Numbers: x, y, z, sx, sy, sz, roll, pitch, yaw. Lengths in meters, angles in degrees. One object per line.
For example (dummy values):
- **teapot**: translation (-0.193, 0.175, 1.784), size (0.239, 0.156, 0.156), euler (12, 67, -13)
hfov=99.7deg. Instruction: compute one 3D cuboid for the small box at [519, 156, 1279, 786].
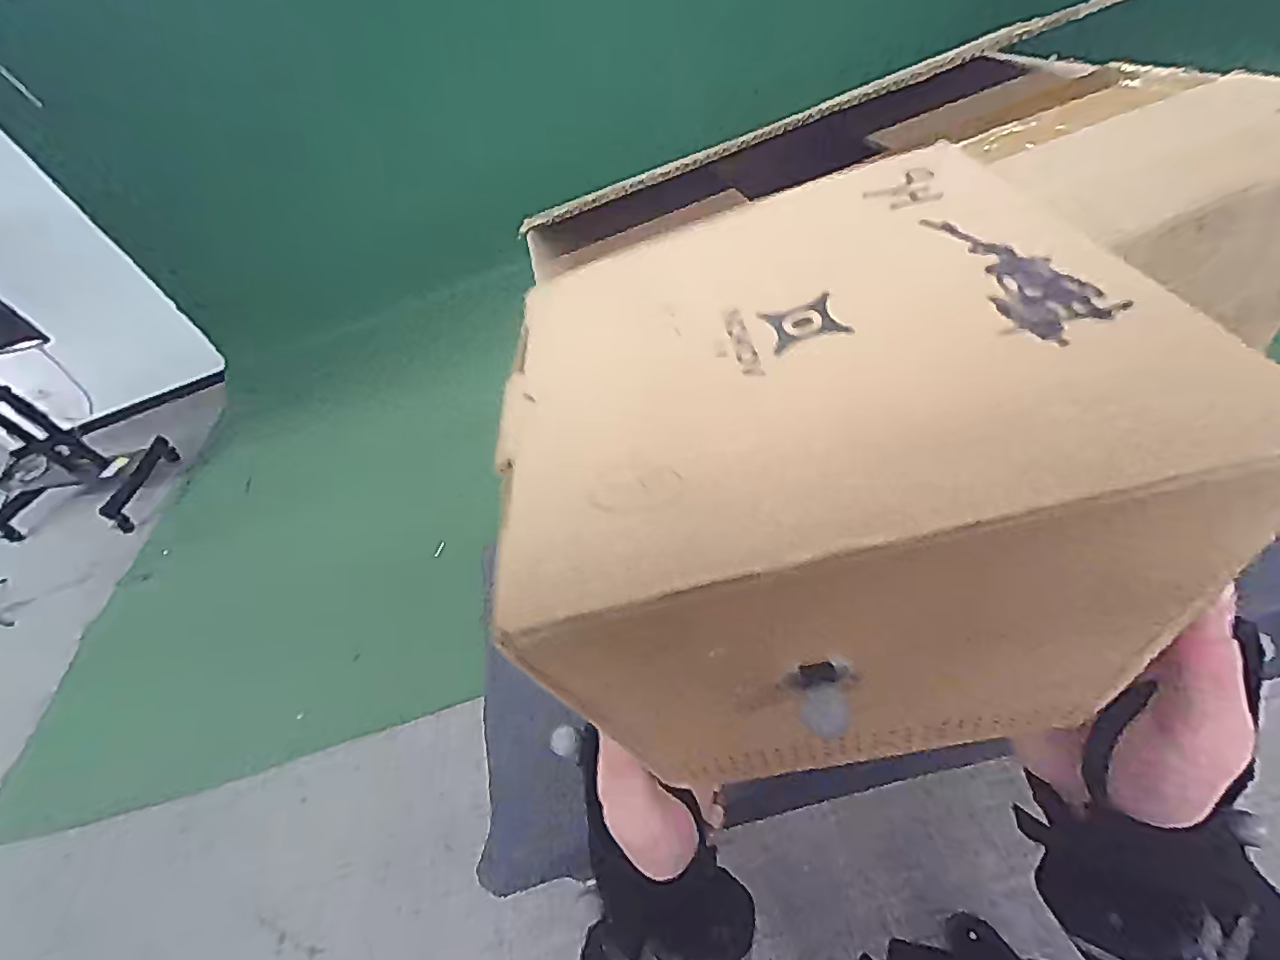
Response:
- **small box**: translation (0.071, 0.011, 0.225), size (0.179, 0.176, 0.168), euler (-16, 48, 11)
